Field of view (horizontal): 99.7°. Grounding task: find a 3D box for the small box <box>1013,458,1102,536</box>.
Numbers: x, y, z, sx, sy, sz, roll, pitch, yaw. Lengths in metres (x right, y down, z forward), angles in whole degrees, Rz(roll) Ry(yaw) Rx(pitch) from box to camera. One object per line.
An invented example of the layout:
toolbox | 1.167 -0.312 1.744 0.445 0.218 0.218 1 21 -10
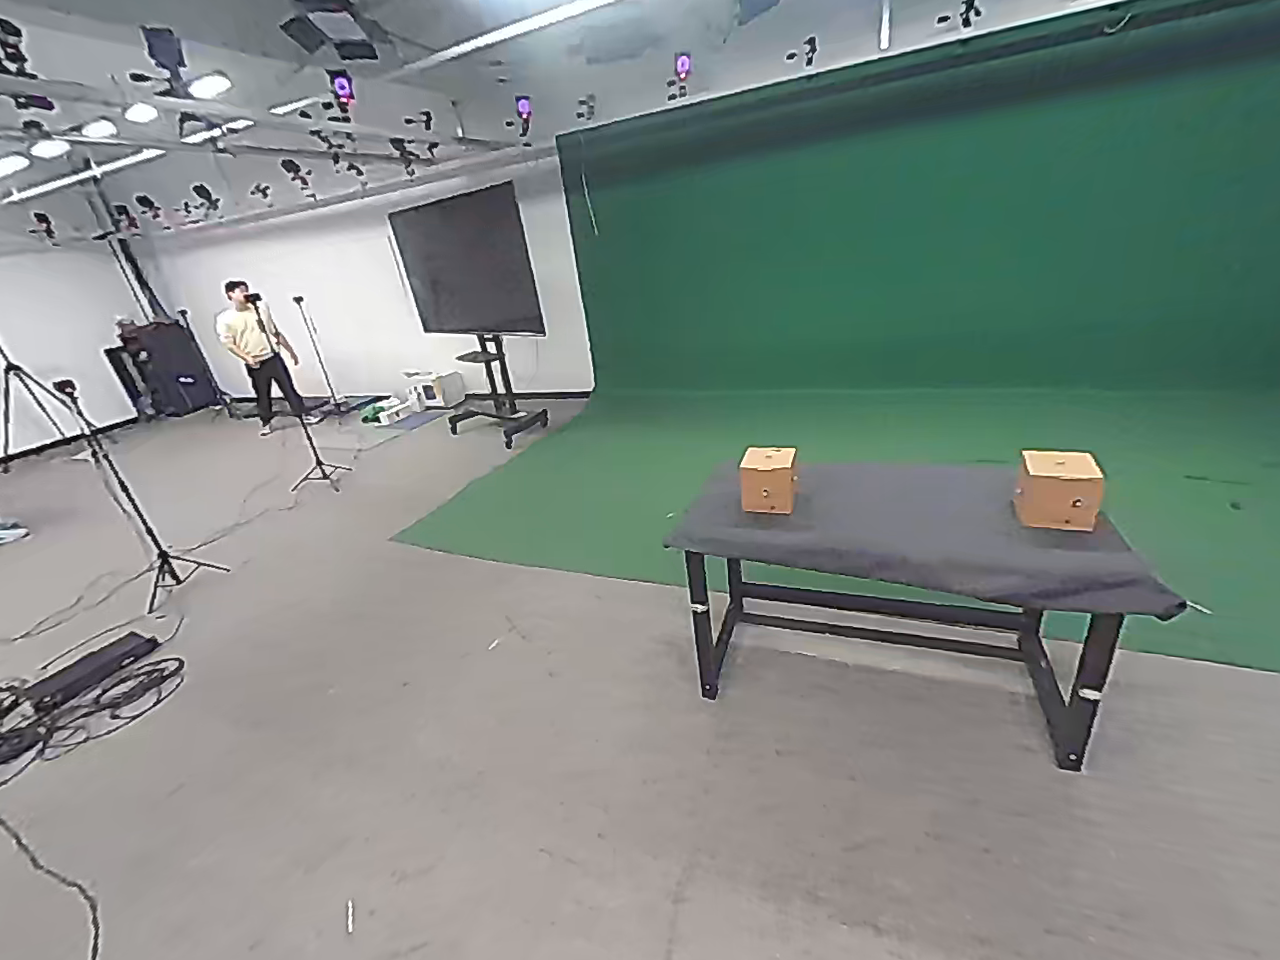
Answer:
small box | 1.196 0.048 1.561 0.168 0.176 0.179 4 26 25

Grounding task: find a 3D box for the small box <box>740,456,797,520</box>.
small box | 0.447 0.027 1.864 0.168 0.176 0.179 2 26 21
